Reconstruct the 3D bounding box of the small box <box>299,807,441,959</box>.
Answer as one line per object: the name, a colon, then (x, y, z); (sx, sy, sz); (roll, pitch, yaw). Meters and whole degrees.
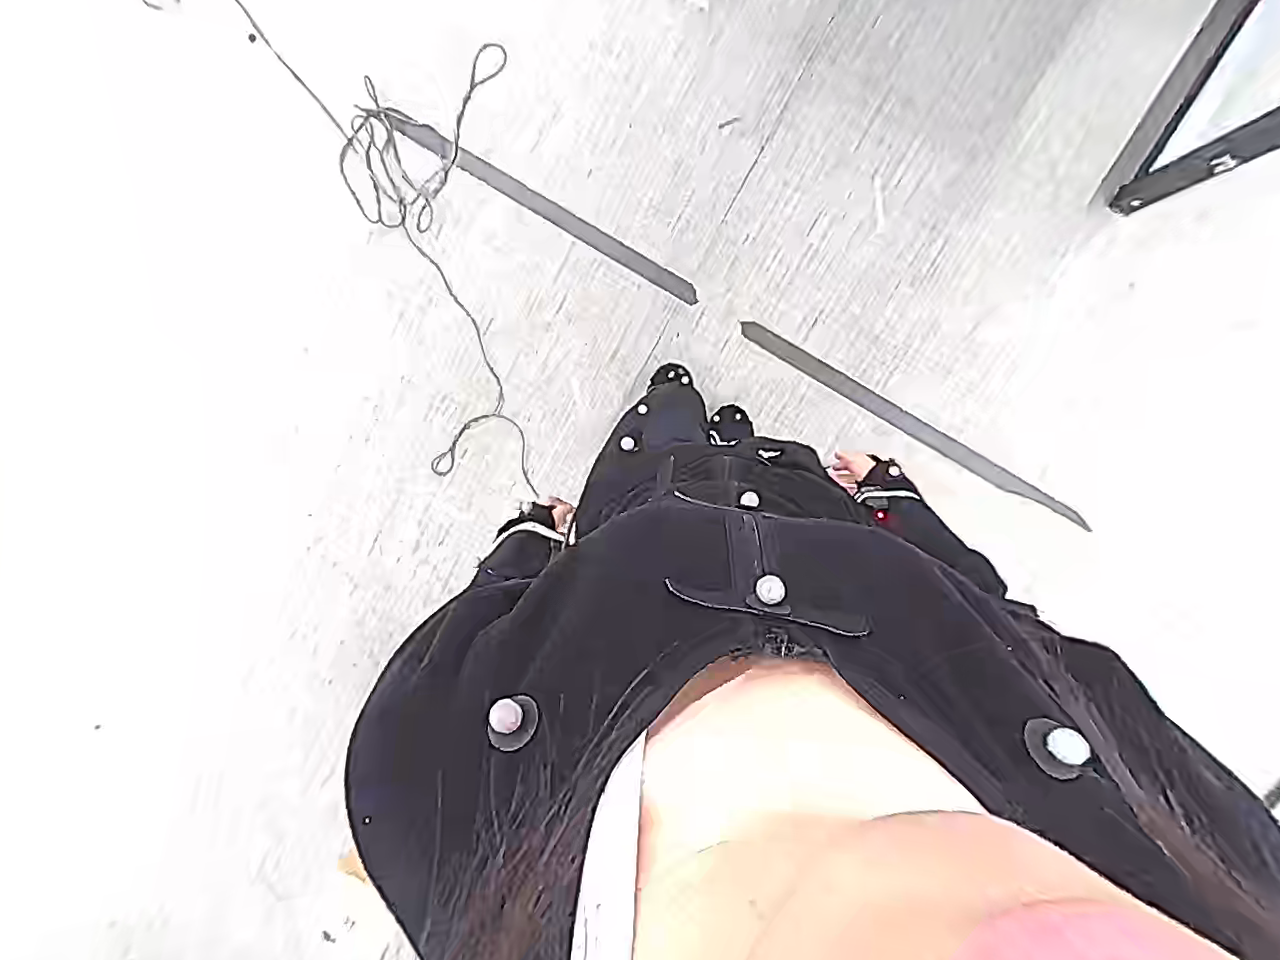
small box: (-0.537, 0.824, 1.107); (0.168, 0.176, 0.179); (35, 99, 0)
